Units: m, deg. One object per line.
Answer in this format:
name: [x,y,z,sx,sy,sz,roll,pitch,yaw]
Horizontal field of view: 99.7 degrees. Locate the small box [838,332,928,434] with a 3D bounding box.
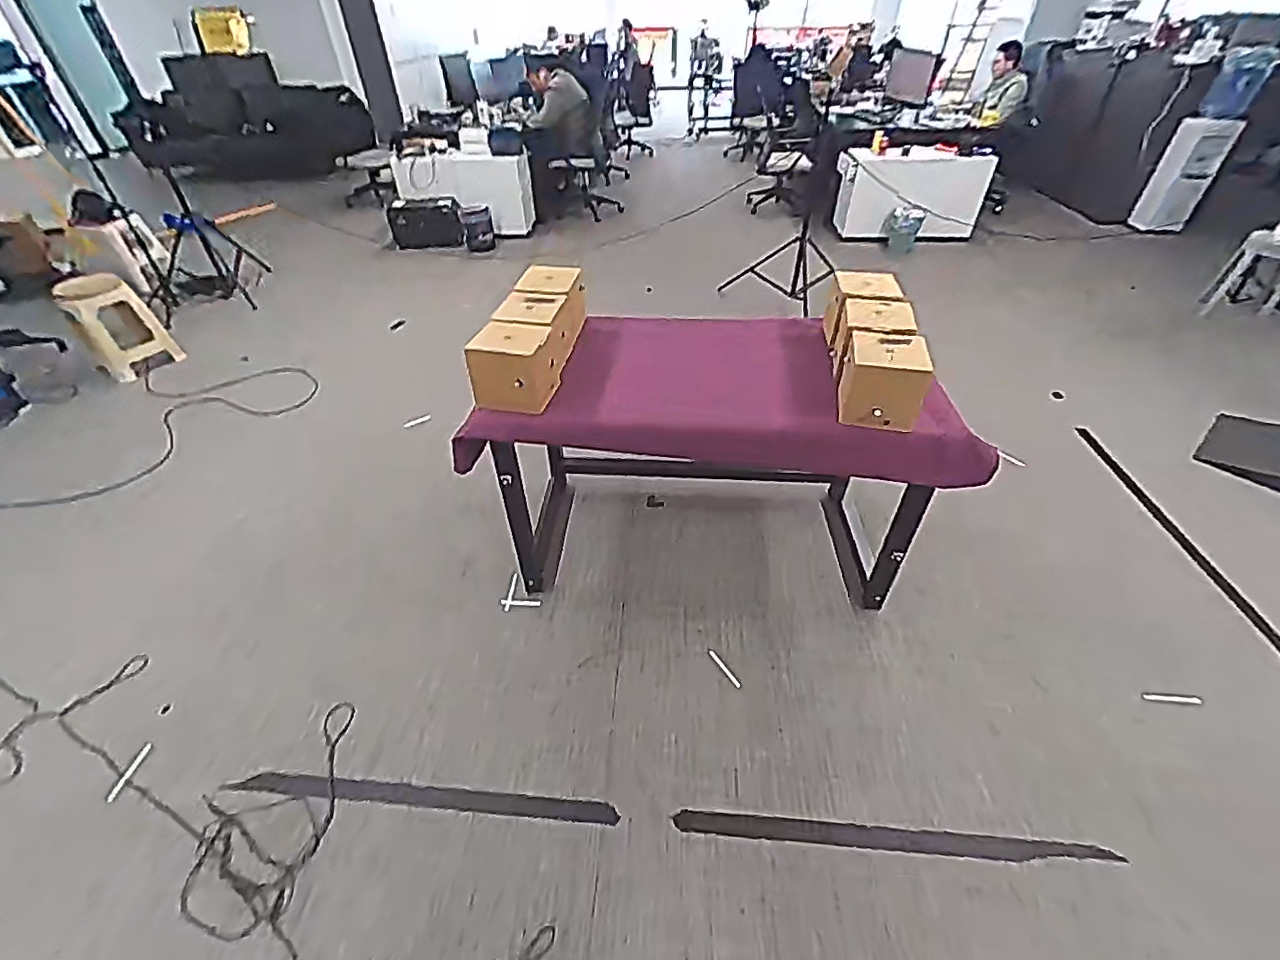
small box: [0.581,-0.236,1.314,0.168,0.176,0.179,8,46,15]

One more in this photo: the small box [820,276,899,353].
small box: [0.640,-0.488,1.601,0.168,0.176,0.179,5,41,6]

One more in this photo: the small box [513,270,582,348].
small box: [-0.276,-0.524,1.658,0.168,0.176,0.179,5,43,7]
